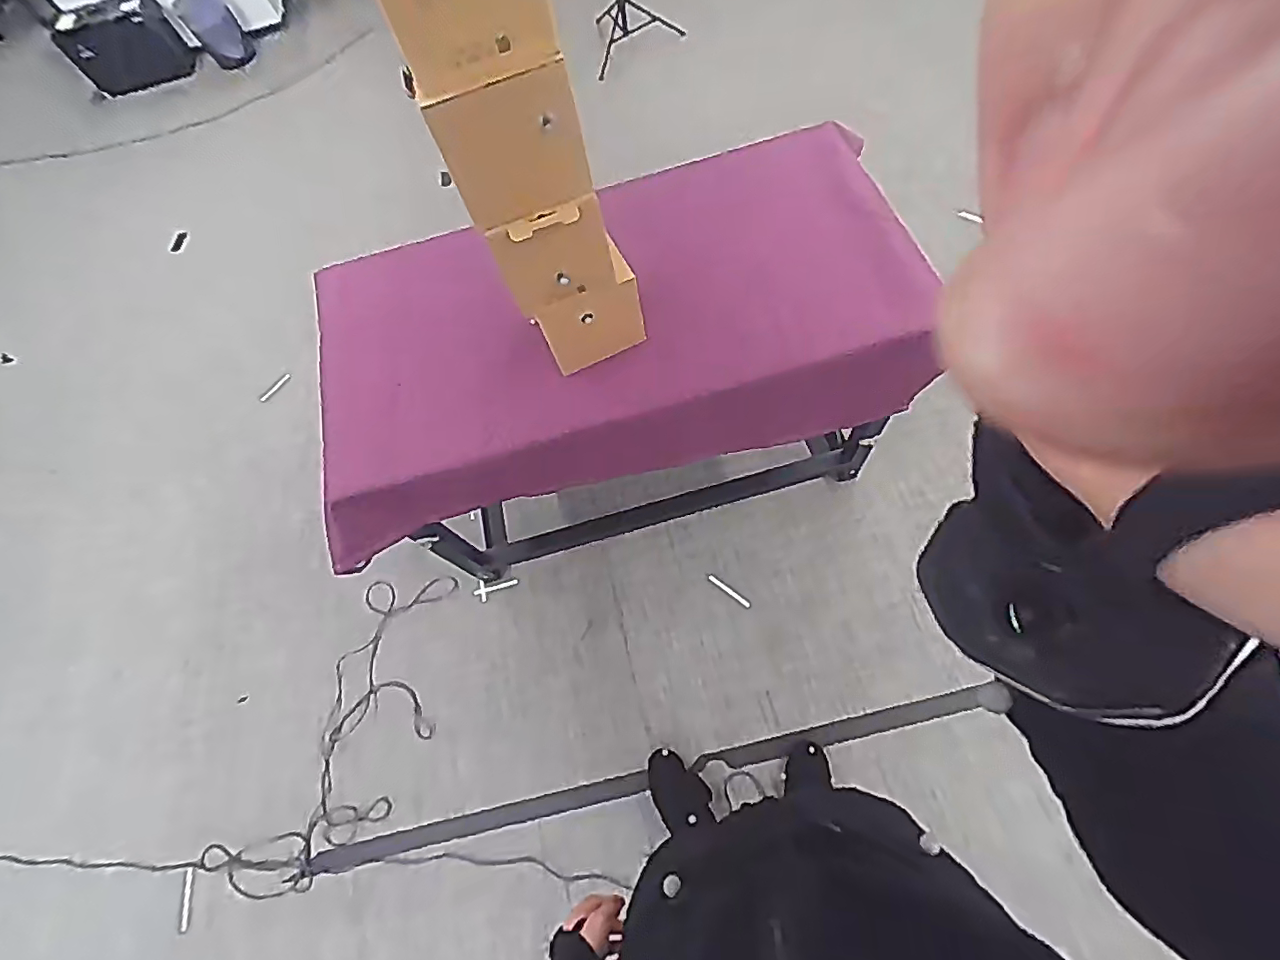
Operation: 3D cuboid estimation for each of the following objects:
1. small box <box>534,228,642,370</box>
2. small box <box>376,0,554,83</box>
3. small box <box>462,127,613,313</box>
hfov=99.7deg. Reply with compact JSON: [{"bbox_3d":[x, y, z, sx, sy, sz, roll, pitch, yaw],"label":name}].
[{"bbox_3d":[-0.111,-0.333,0.994,0.179,0.176,0.168,-25,65,-4],"label":"small box"},{"bbox_3d":[-0.203,-0.556,0.564,0.168,0.176,0.179,-20,64,-1],"label":"small box"},{"bbox_3d":[-0.155,-0.400,0.848,0.168,0.176,0.179,-21,65,-1],"label":"small box"}]
